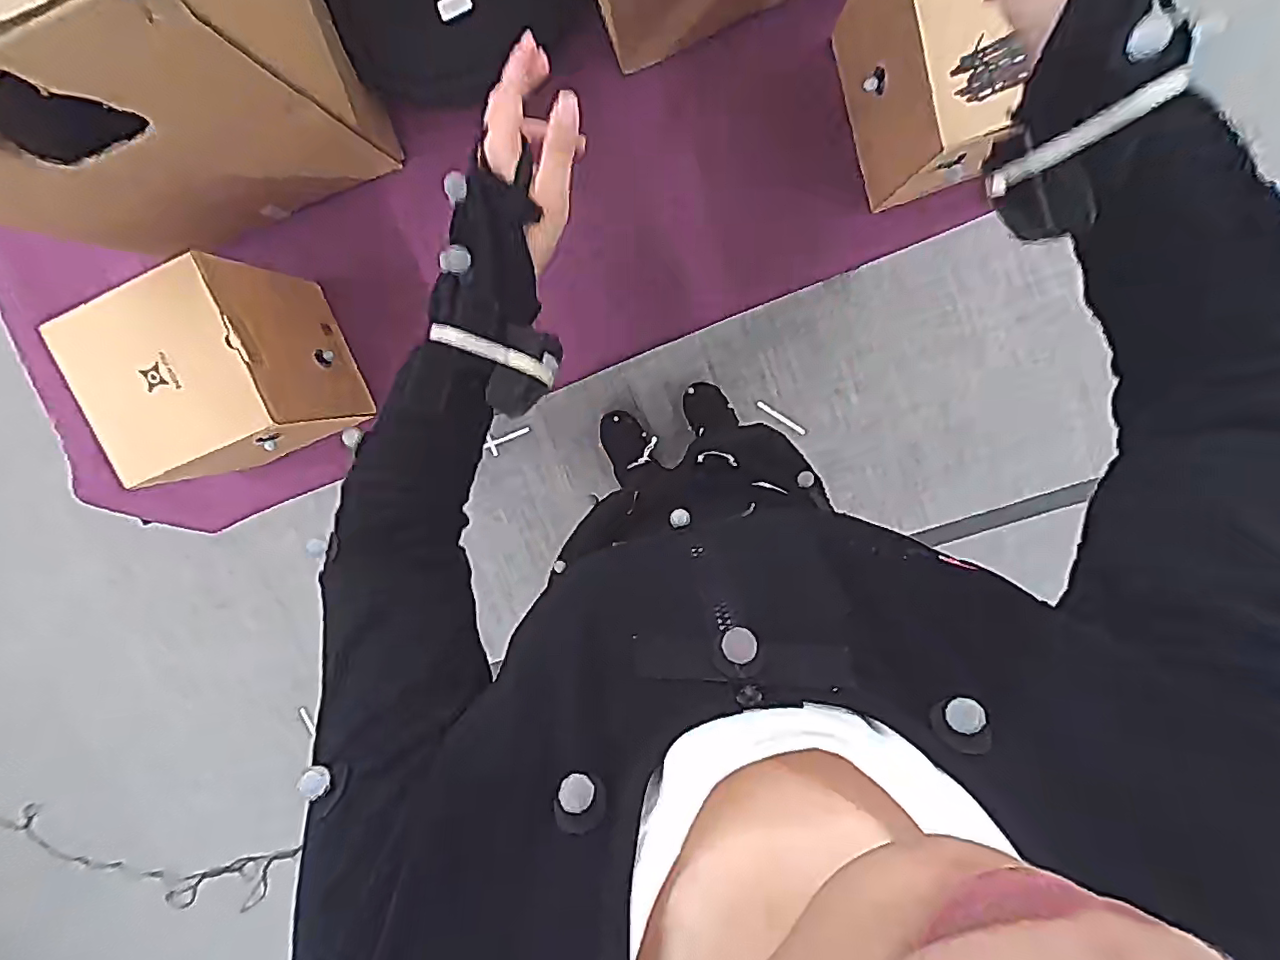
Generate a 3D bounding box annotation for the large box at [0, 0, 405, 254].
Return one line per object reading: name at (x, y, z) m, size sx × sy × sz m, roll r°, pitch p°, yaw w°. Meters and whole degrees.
large box at (-0.475, -0.460, 0.444) m, size 0.320 × 0.320 × 0.408 m, roll -18°, pitch 102°, yaw 9°

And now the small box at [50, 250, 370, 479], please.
small box at (-0.438, -0.116, 0.582) m, size 0.179 × 0.176 × 0.168 m, roll -21°, pitch 98°, yaw 8°
